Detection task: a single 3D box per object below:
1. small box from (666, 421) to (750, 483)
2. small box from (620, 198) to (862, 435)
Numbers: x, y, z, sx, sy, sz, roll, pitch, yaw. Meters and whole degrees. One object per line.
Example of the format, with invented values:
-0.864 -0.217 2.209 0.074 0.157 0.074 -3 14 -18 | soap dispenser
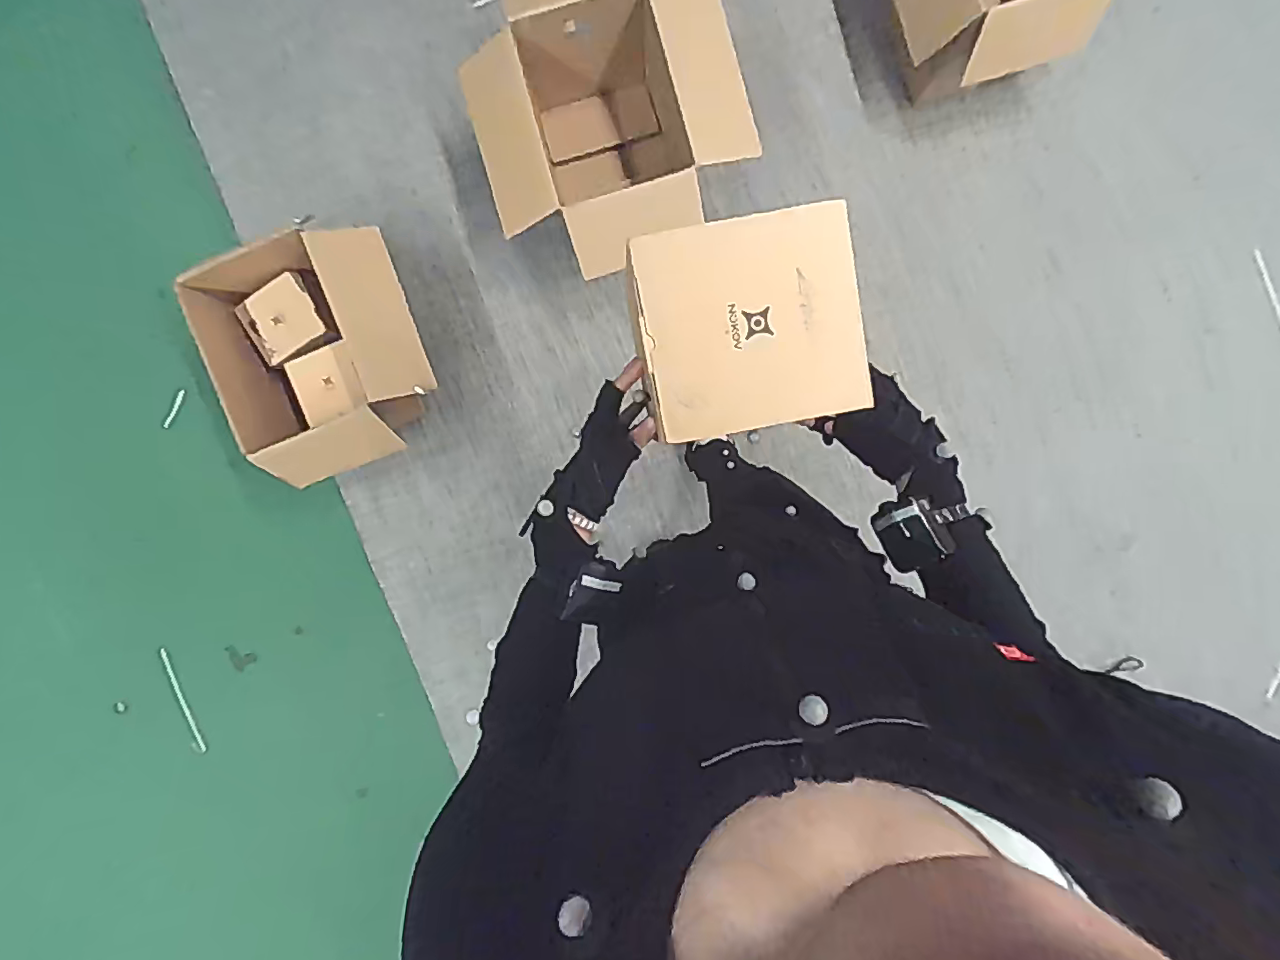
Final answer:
0.172 -0.127 1.389 0.168 0.176 0.179 29 67 23 | small box
0.082 -0.136 0.513 0.179 0.176 0.168 -11 96 0 | small box
